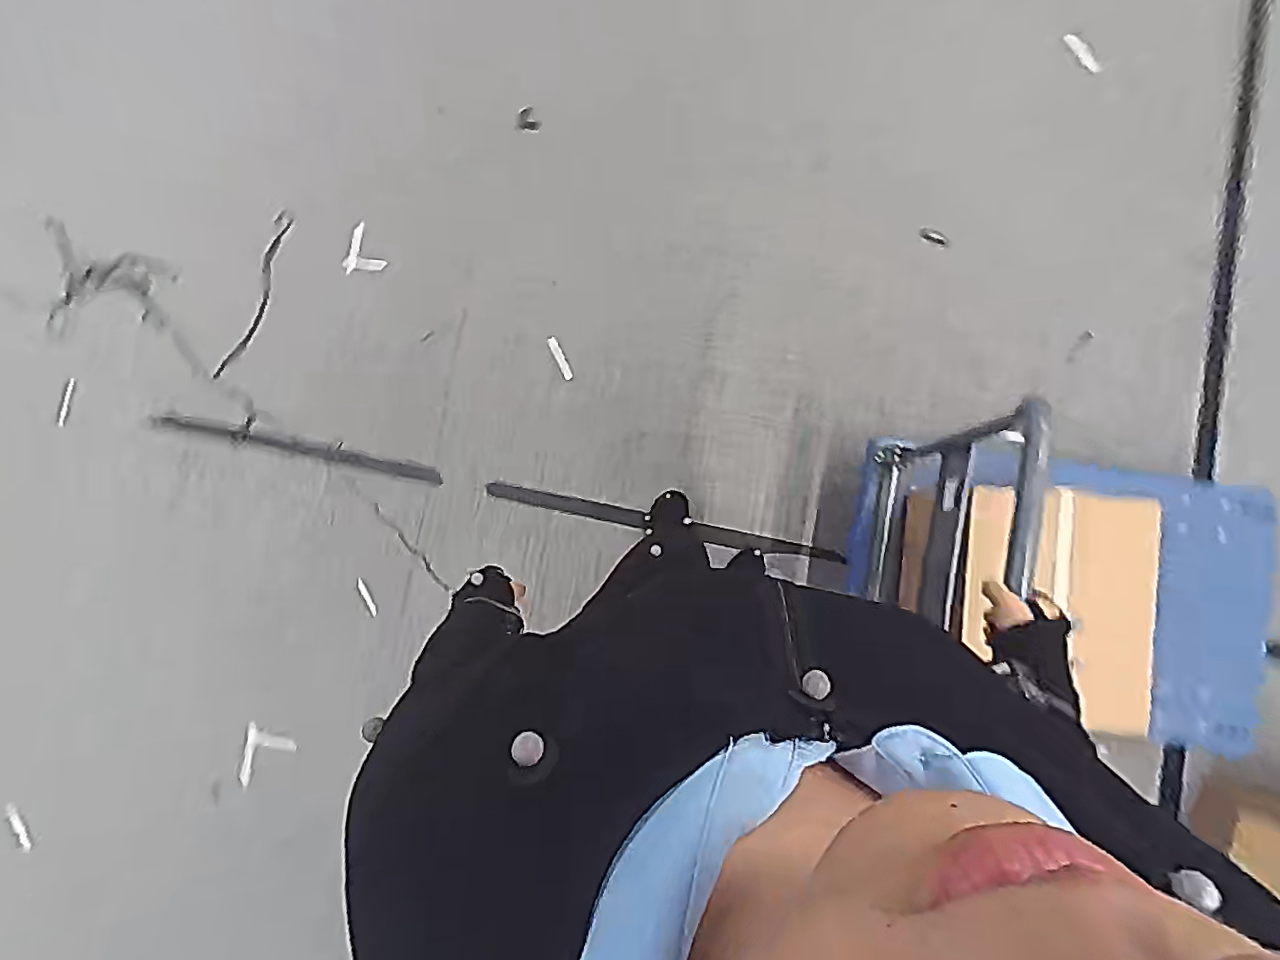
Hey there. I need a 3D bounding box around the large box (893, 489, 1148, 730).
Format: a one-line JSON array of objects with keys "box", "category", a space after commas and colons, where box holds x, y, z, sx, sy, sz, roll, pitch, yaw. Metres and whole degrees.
[{"box": [0.744, 0.232, 1.111, 0.320, 0.320, 0.408, 6, 88, 7], "category": "large box"}]
